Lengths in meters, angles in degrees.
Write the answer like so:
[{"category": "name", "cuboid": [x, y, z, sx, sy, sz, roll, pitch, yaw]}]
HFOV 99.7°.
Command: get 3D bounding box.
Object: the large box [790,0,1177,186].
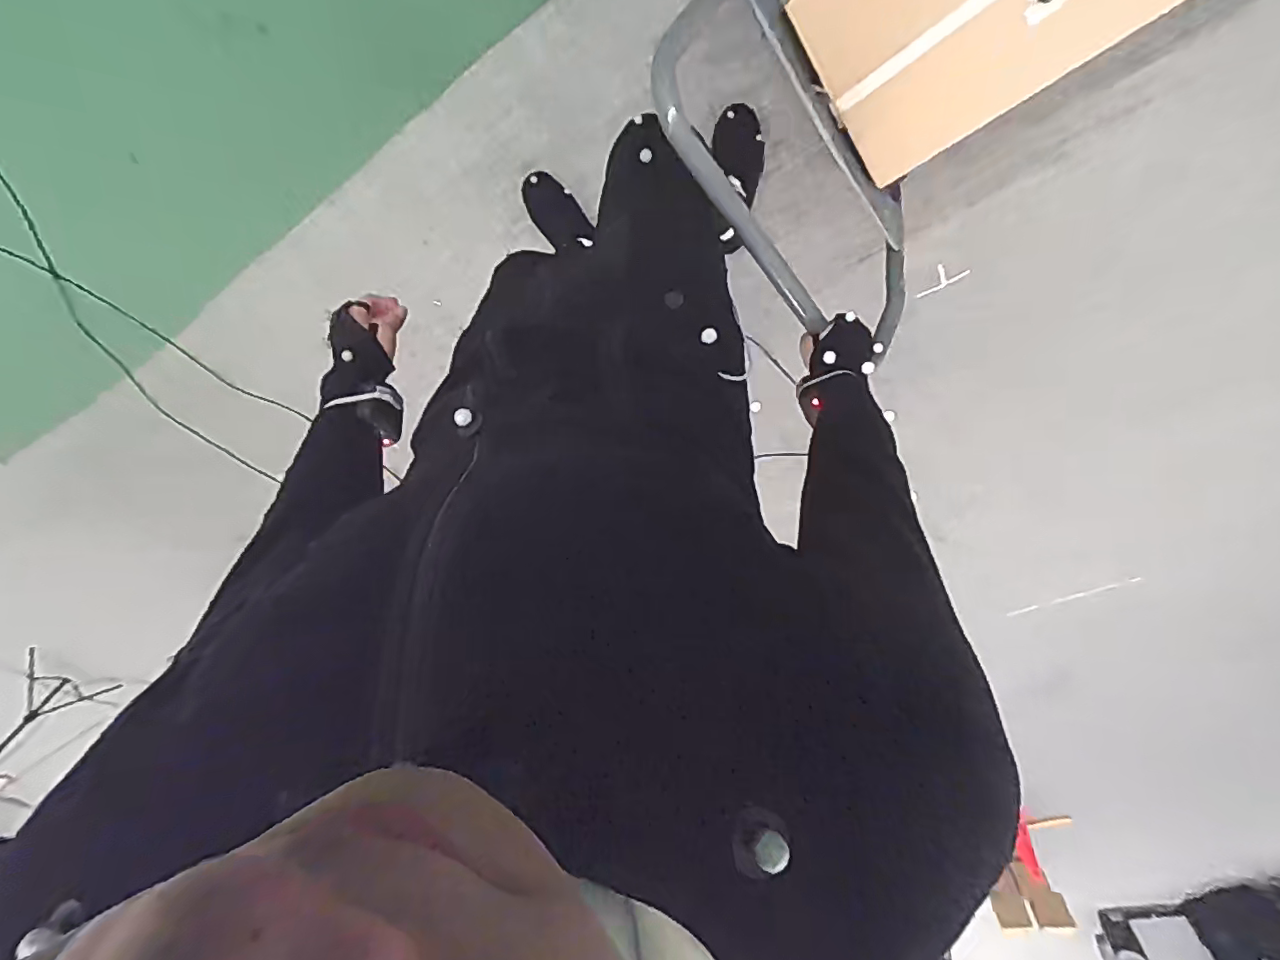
[{"category": "large box", "cuboid": [0.485, -0.752, 0.816, 0.408, 0.320, 0.320, -22, 127, 37]}]
